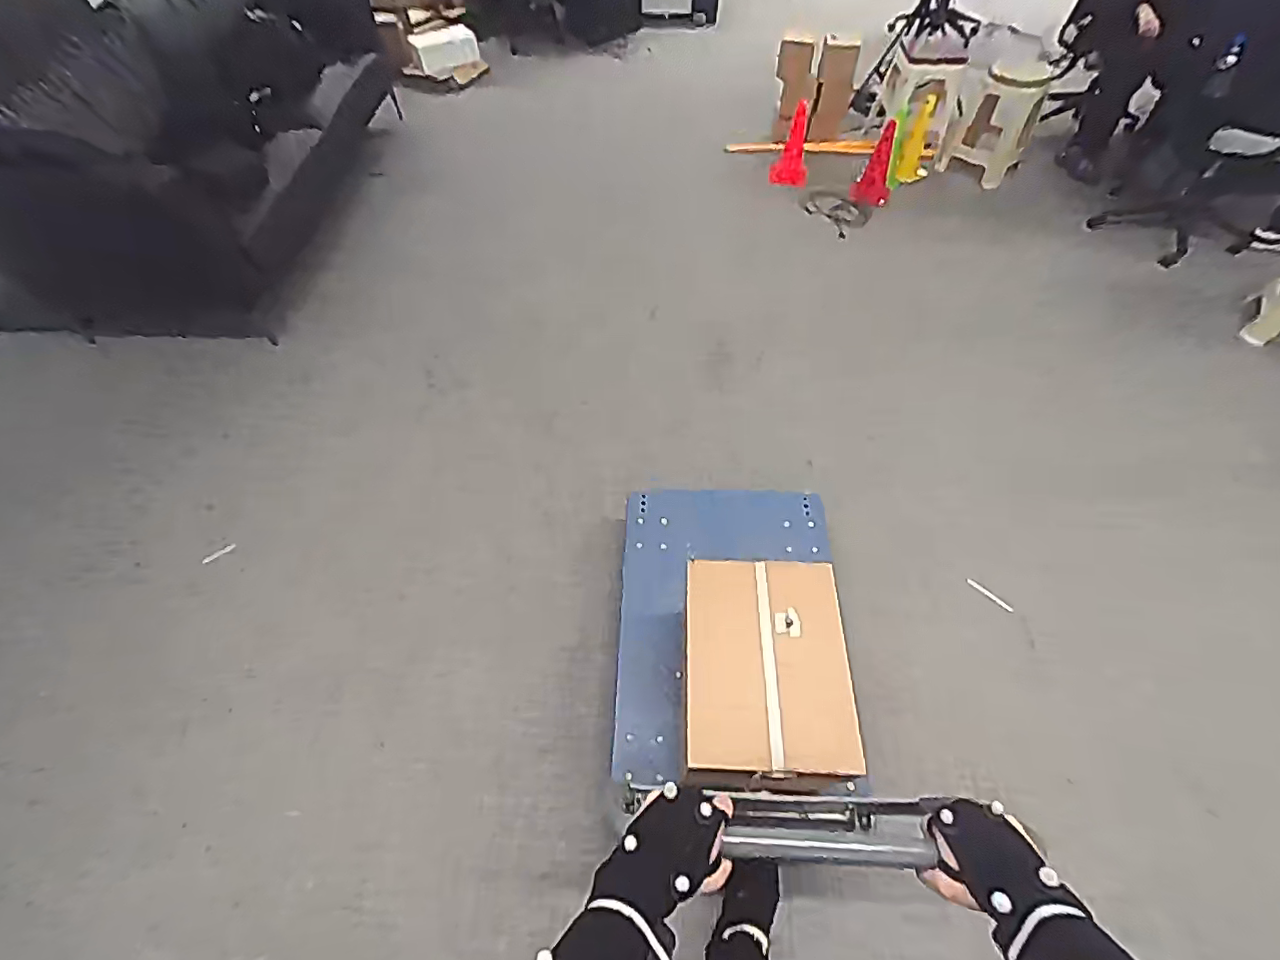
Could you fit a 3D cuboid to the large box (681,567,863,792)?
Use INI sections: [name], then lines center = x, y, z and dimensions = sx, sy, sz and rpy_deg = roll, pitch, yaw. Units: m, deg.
[large box]
center = 0.249, 0.440, 1.184
dimensions = 0.320, 0.320, 0.408
rpy_deg = 1, 54, 2
